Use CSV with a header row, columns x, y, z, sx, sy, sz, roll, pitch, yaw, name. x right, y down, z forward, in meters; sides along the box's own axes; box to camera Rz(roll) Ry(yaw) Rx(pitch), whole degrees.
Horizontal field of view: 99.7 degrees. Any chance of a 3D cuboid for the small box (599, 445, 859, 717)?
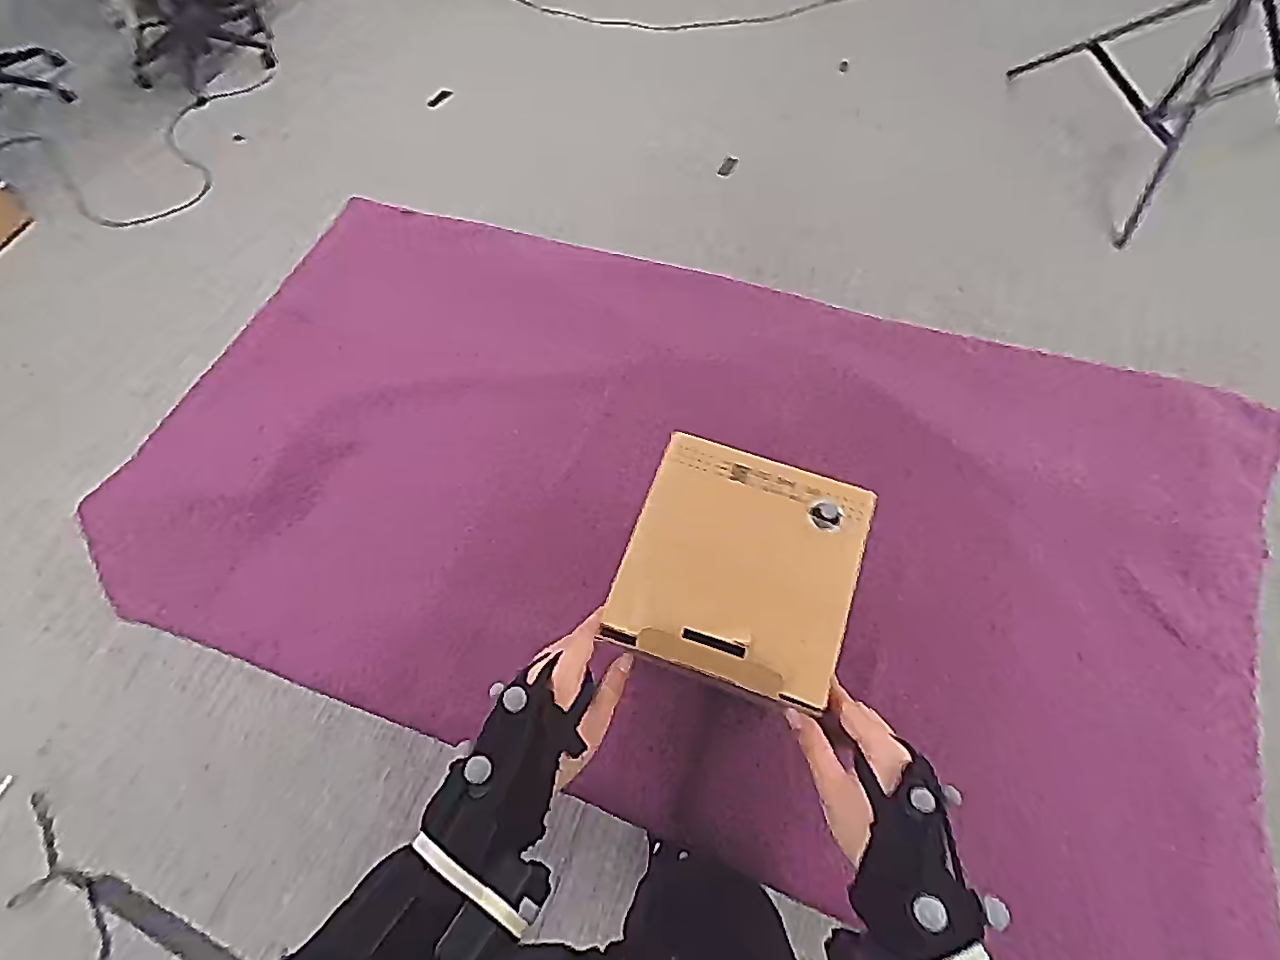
x,y,z,sx,sy,sz,roll,pitch,yaw,name
0.077,0.092,0.478,0.168,0.179,0.176,19,68,11,small box
